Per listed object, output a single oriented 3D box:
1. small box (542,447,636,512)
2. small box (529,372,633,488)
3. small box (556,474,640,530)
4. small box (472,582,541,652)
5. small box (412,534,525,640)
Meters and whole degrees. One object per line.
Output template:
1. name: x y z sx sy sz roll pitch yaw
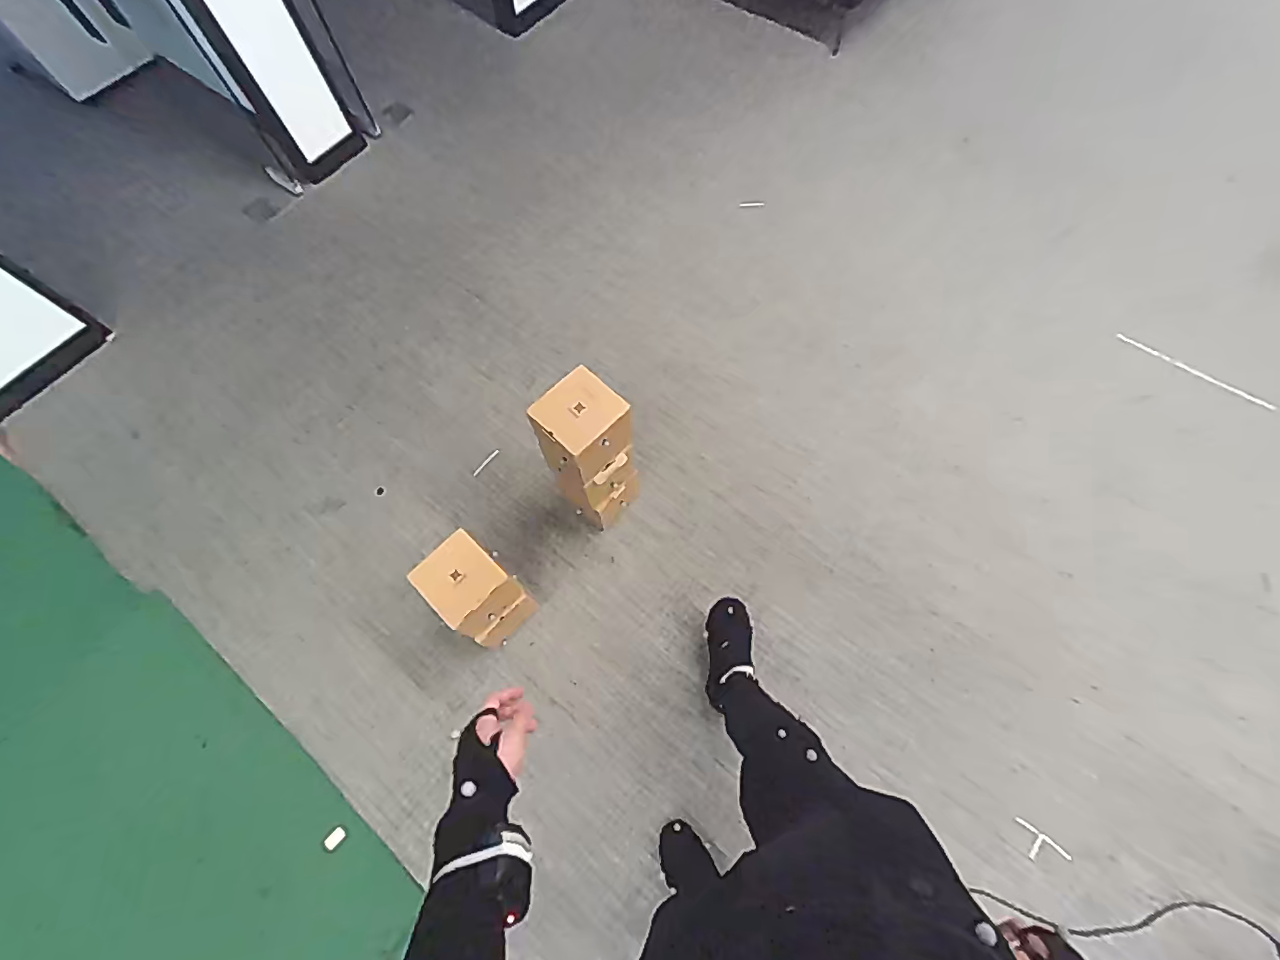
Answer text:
1. small box: -0.128 -0.043 1.424 0.168 0.176 0.179 -43 72 -14
2. small box: -0.128 -0.111 1.275 0.168 0.176 0.179 42 75 17
3. small box: -0.114 0.027 1.572 0.179 0.176 0.168 38 73 16
4. small box: -0.393 0.347 1.464 0.179 0.176 0.168 40 74 17
5. small box: -0.406 0.265 1.306 0.179 0.176 0.168 41 74 17
